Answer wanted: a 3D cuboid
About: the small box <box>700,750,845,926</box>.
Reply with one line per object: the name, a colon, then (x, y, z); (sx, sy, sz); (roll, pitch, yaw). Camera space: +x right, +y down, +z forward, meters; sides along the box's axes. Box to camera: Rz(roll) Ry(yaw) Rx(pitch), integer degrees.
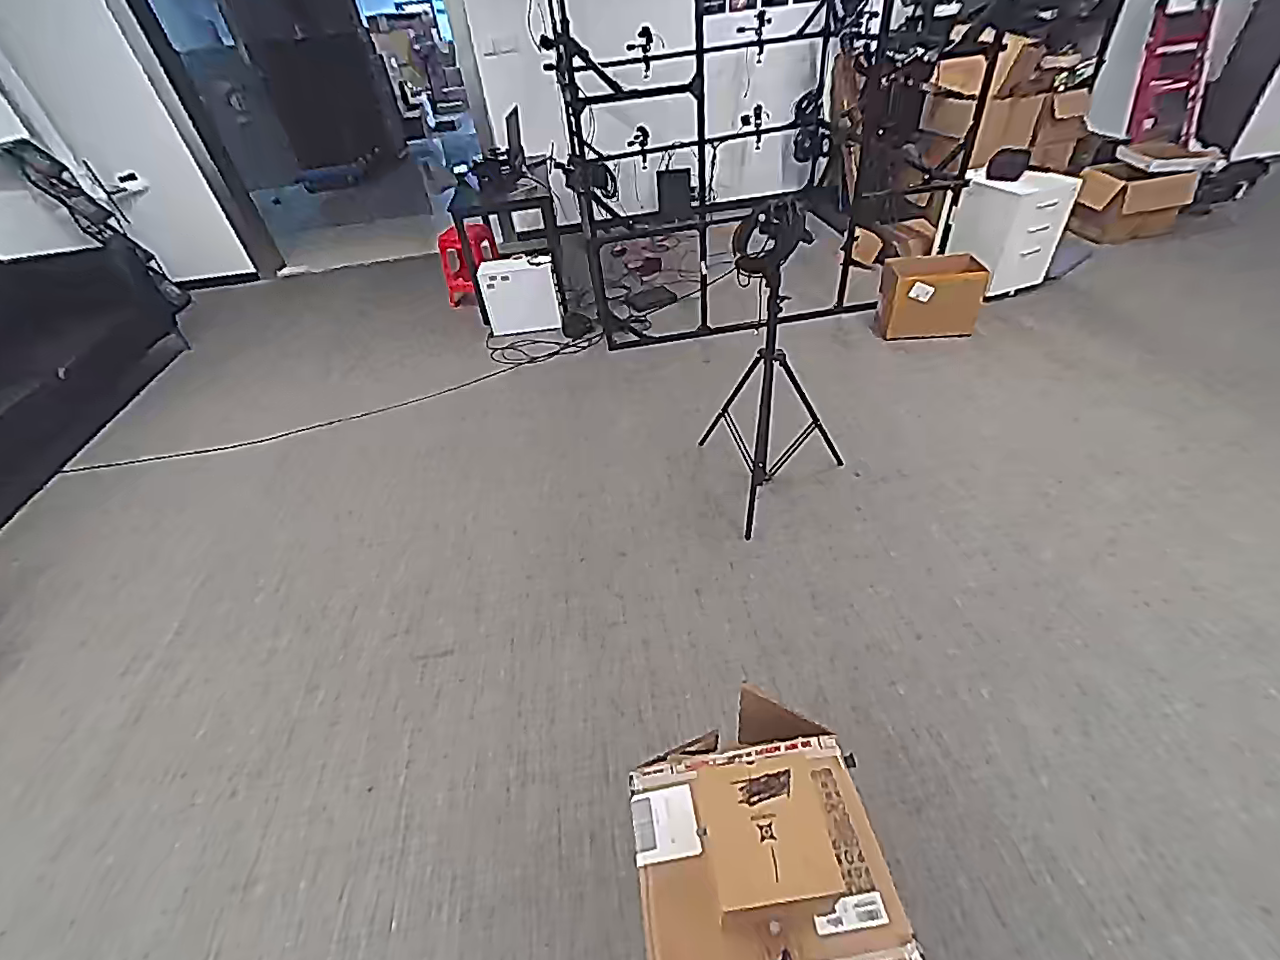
small box: (0.183, 0.536, 0.811); (0.168, 0.176, 0.179); (-8, 44, -1)
